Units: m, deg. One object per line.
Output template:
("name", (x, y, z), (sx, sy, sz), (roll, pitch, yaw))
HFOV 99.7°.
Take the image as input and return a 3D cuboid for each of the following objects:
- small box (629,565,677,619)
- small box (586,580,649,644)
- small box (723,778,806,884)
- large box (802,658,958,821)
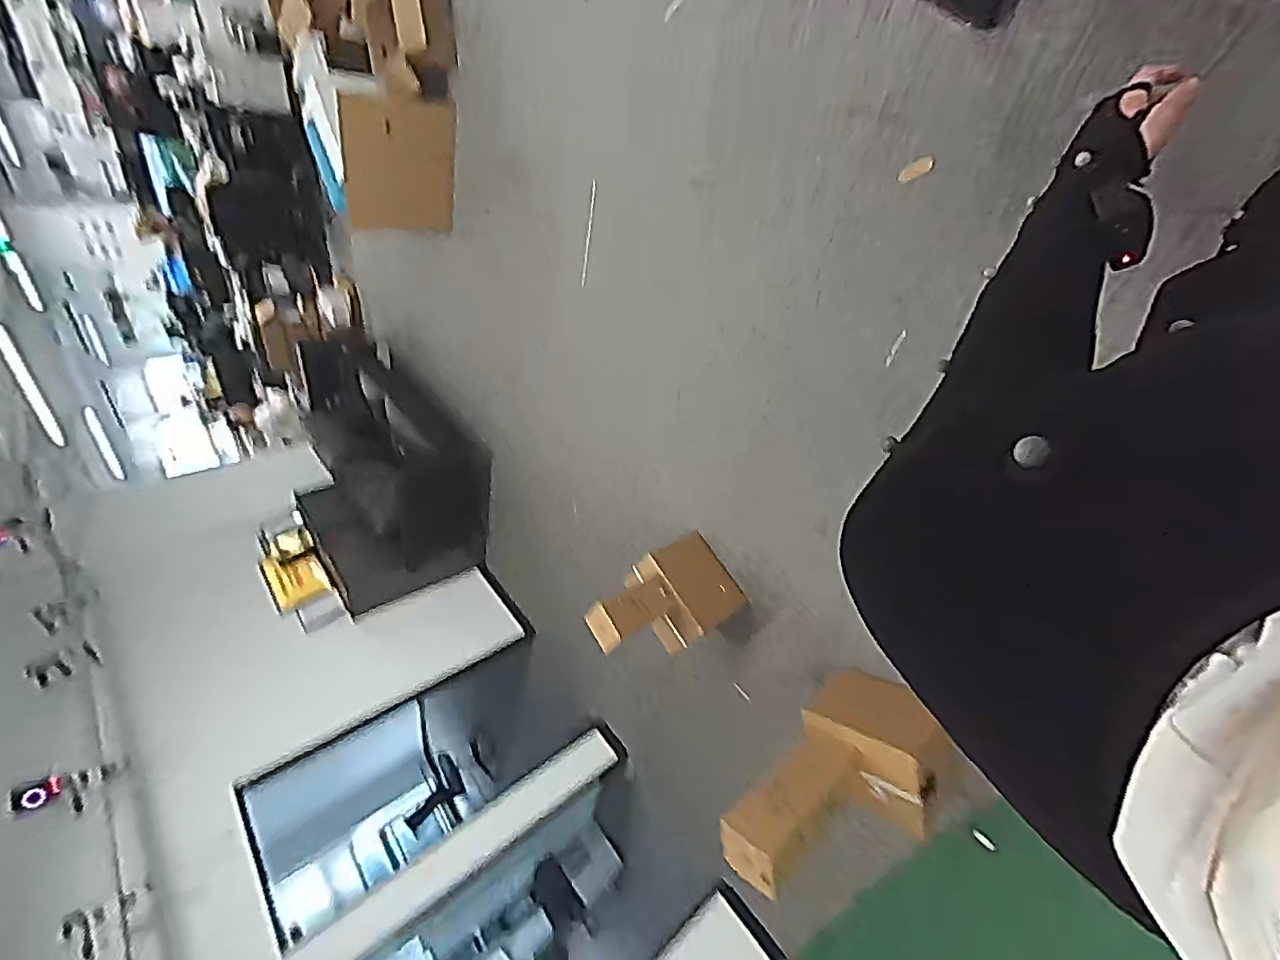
("small box", (0.028, 0.489, 2.313), (0.168, 0.176, 0.179), (56, 139, 16))
("small box", (-0.088, 0.534, 2.208), (0.168, 0.176, 0.179), (55, 140, 18))
("small box", (0.372, 1.031, 1.611), (0.179, 0.176, 0.168), (12, 117, 49))
("large box", (0.846, 0.883, 1.909), (0.408, 0.320, 0.320), (4, 111, 49))
